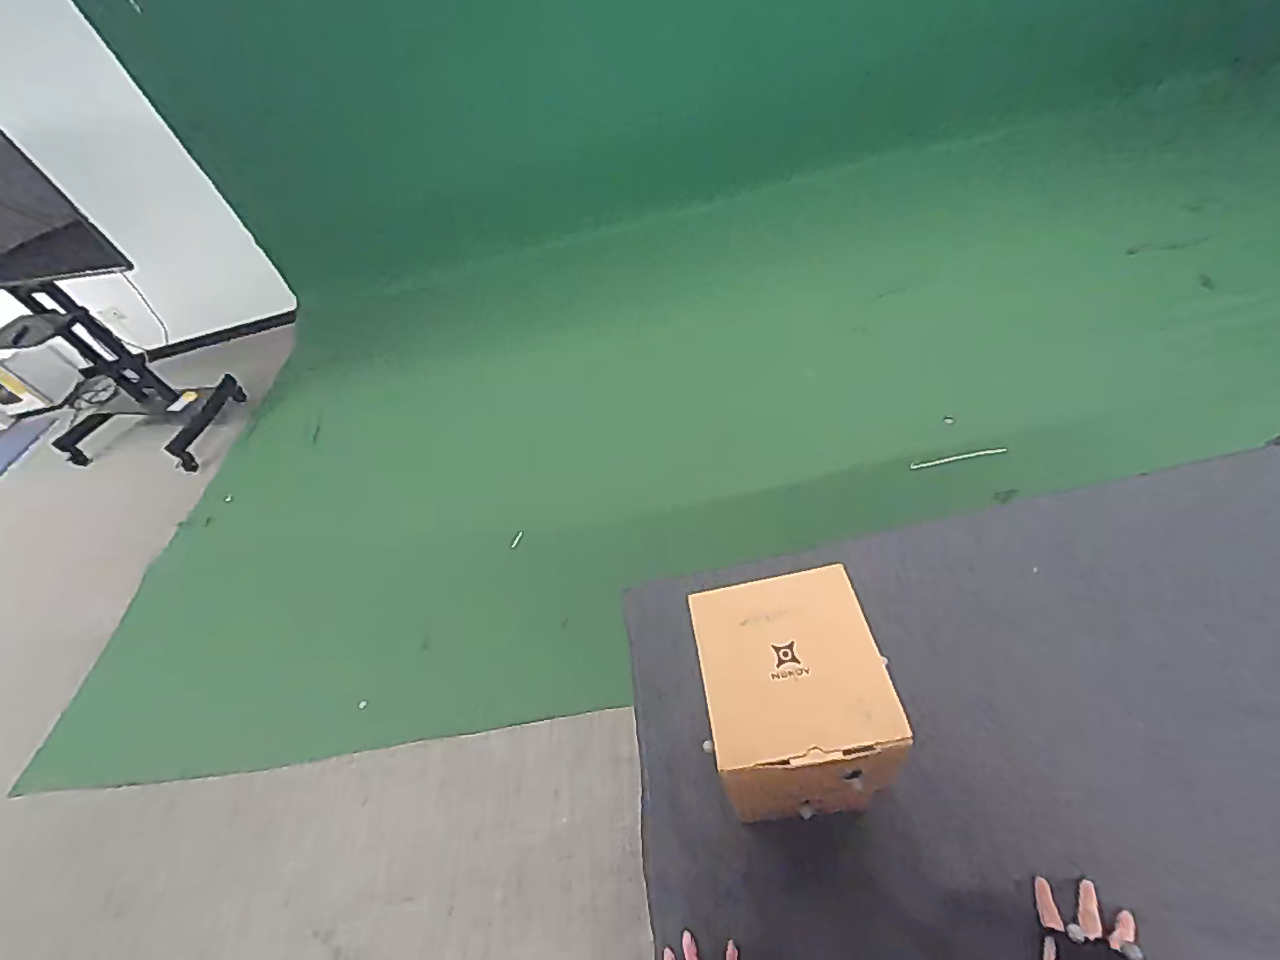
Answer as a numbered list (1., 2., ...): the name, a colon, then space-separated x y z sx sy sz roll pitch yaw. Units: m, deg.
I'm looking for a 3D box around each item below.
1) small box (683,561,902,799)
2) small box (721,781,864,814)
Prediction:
1. small box: 0.149 0.216 0.568 0.168 0.176 0.179 -12 46 4
2. small box: 0.182 0.313 0.695 0.168 0.176 0.179 -11 47 6
